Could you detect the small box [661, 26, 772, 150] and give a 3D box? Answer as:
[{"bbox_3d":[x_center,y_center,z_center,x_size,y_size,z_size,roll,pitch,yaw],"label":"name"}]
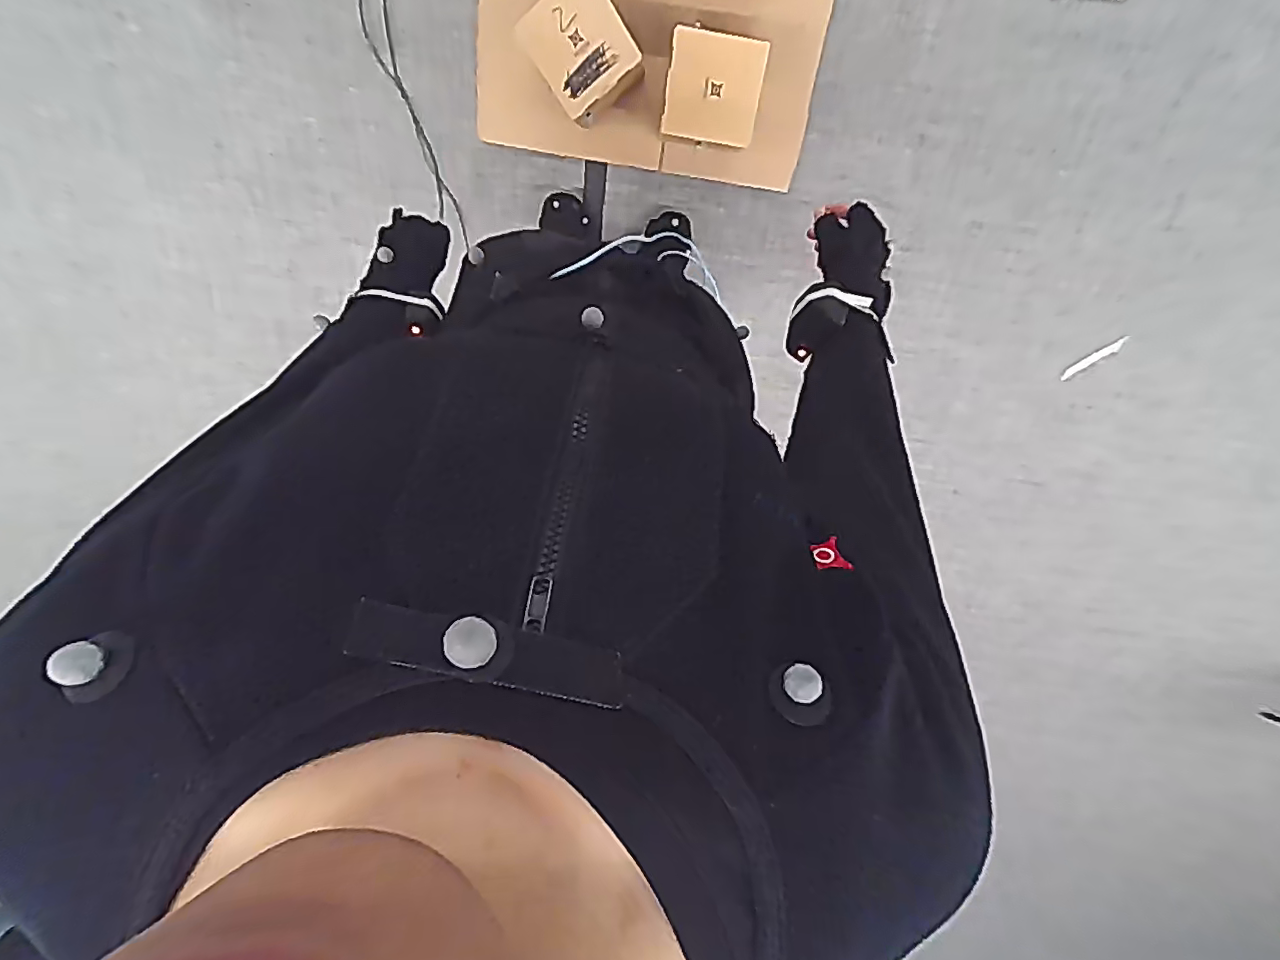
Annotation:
[{"bbox_3d":[0.142,-0.762,1.069,0.179,0.176,0.168,10,119,-2],"label":"small box"}]
